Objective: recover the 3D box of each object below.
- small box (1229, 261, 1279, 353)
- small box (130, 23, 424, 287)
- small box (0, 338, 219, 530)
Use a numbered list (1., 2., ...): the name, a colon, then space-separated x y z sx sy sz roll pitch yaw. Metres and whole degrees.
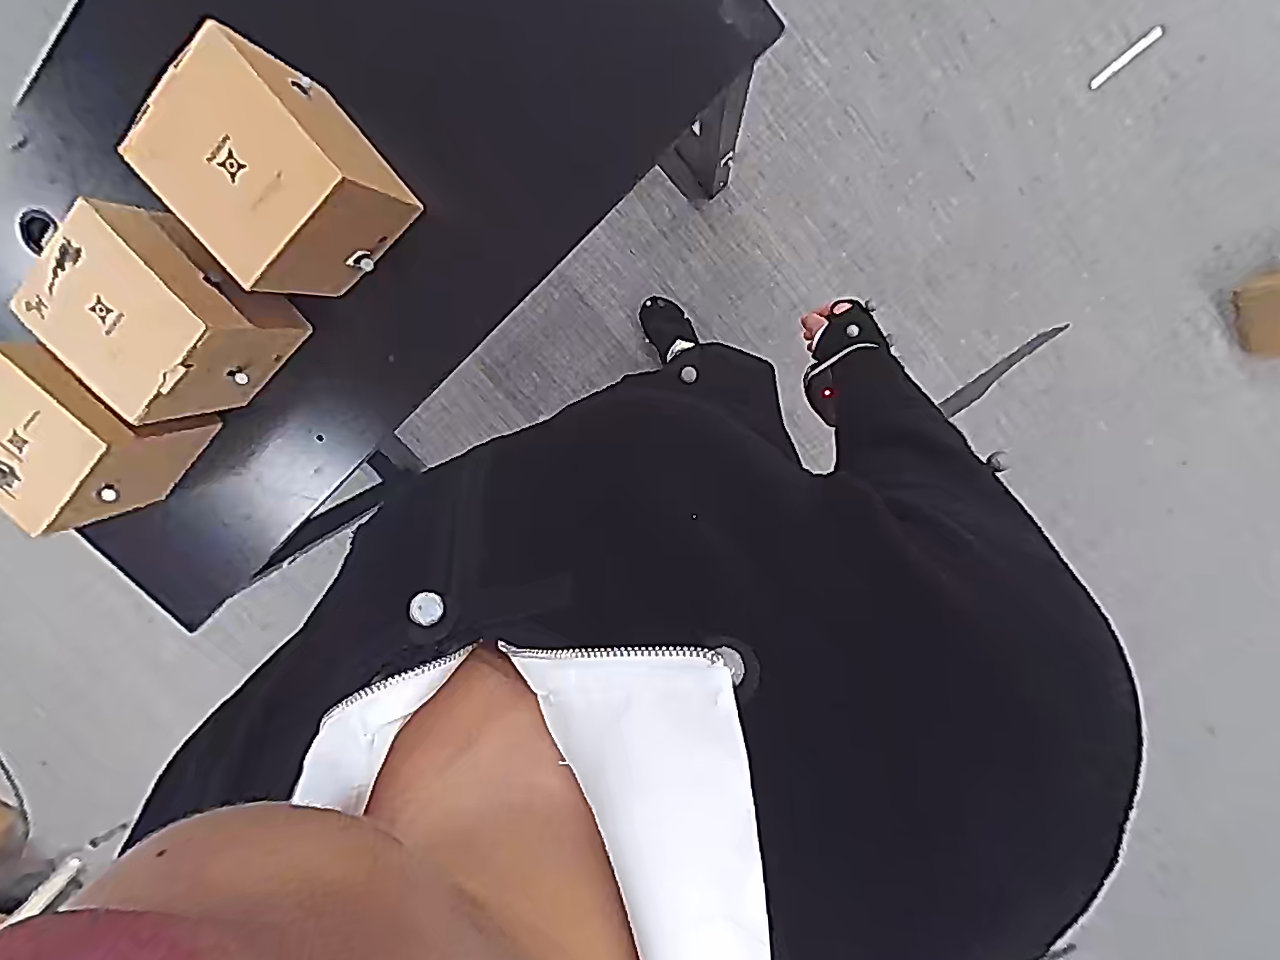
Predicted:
1. small box: 1.468 -0.390 1.182 0.168 0.176 0.179 -26 103 12
2. small box: -0.391 -0.339 0.613 0.168 0.176 0.179 -39 100 16
3. small box: -0.723 -0.069 0.719 0.179 0.176 0.168 -42 98 14
